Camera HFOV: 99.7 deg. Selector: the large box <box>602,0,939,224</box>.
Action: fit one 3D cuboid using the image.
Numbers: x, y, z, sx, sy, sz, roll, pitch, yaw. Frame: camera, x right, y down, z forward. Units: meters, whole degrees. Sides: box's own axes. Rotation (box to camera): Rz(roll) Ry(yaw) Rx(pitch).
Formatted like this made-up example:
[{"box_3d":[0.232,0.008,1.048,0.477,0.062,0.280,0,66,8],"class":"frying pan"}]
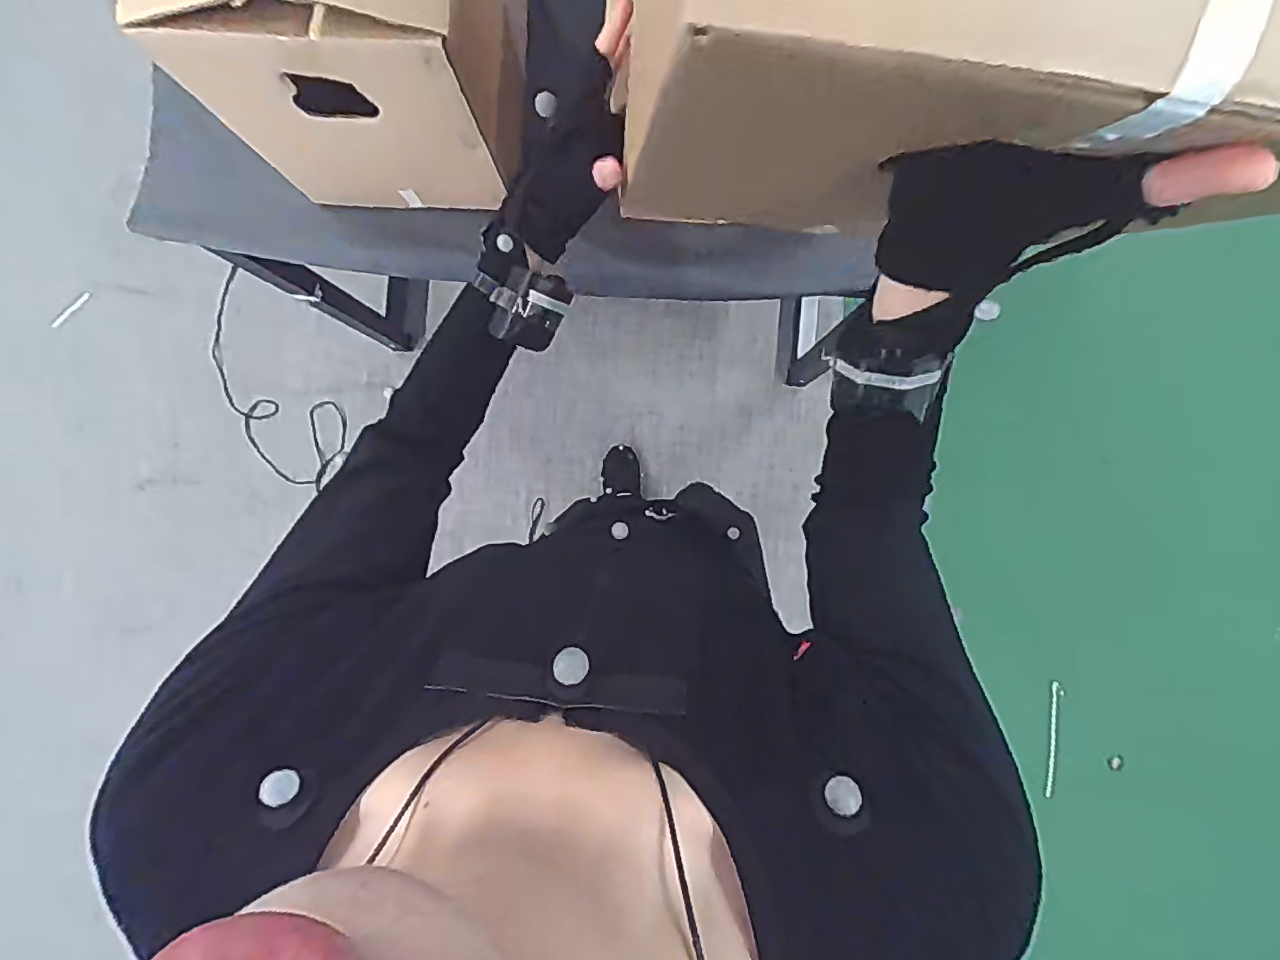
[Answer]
[{"box_3d":[0.135,-0.580,0.655,0.320,0.320,0.408,4,87,2],"class":"large box"}]
